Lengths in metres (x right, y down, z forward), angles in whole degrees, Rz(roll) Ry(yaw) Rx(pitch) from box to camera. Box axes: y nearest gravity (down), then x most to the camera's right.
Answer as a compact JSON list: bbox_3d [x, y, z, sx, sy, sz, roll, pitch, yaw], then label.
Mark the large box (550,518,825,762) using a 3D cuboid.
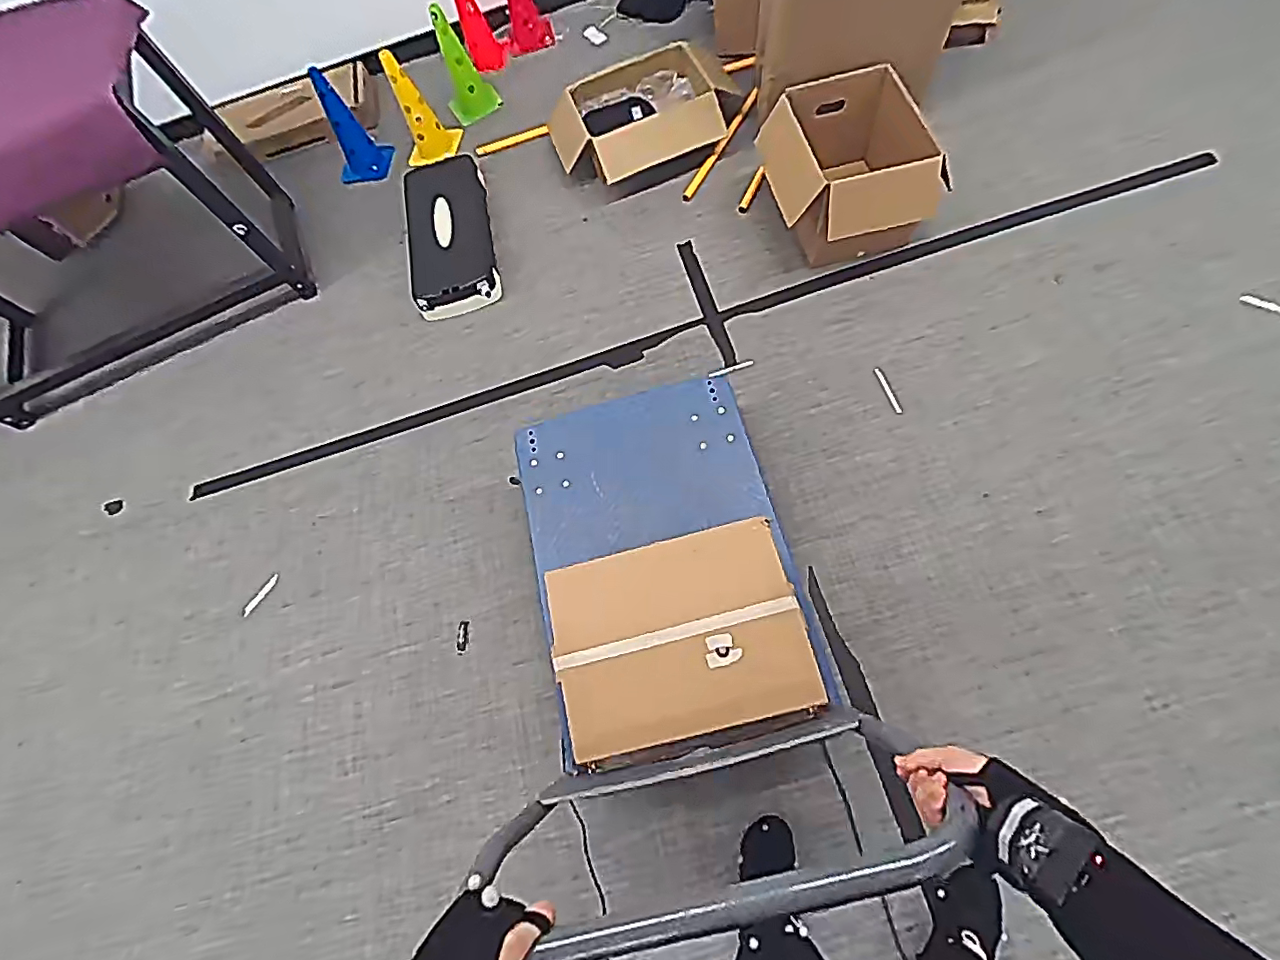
[{"bbox_3d":[0.081,0.310,1.036,0.408,0.320,0.320,-15,68,2],"label":"large box"}]
